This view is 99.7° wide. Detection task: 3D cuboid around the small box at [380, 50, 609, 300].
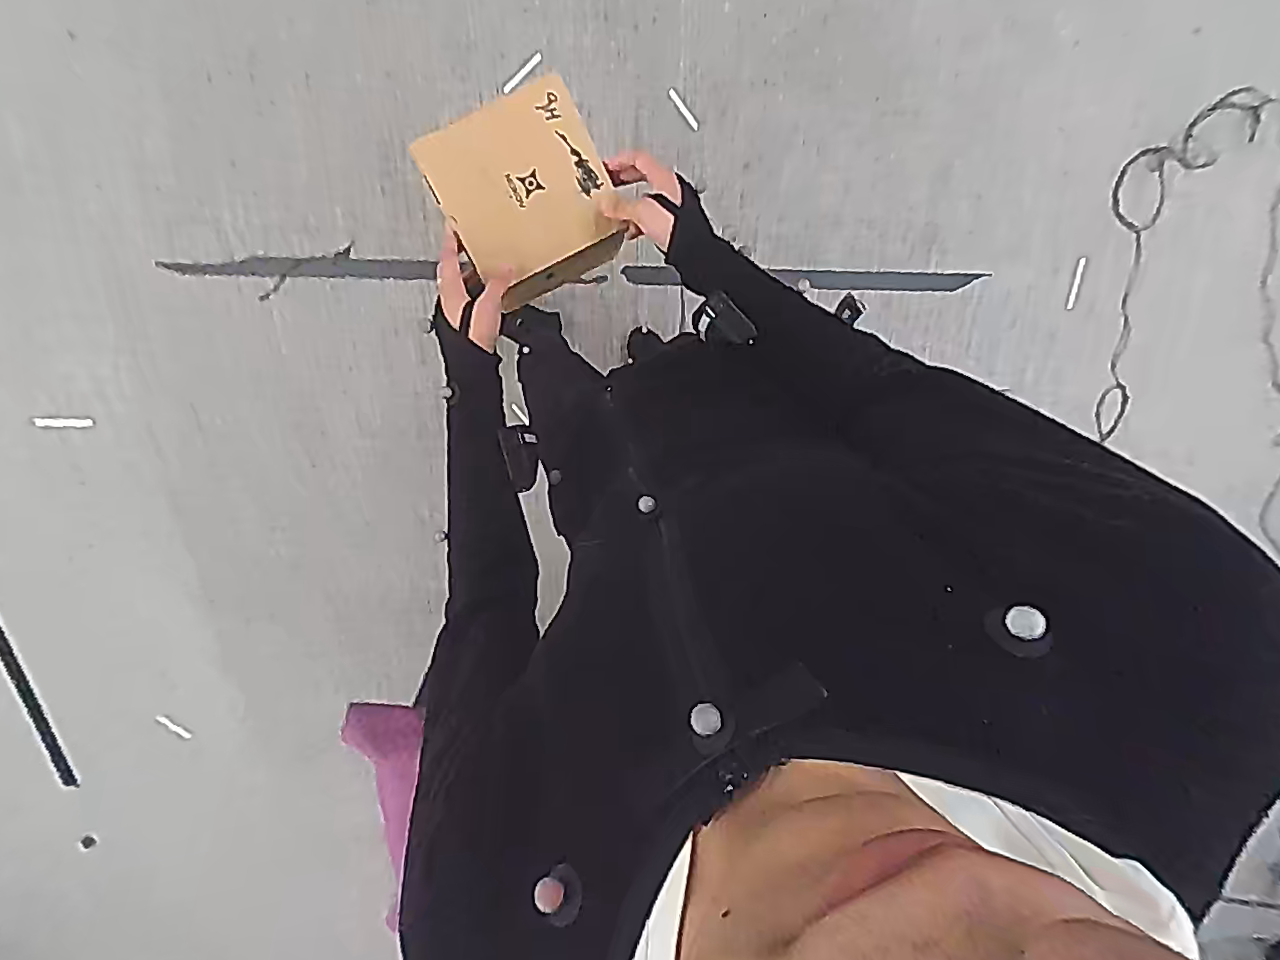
[{"bbox_3d":[-0.151,-0.325,0.621,0.179,0.176,0.168,-31,105,1],"label":"small box"}]
